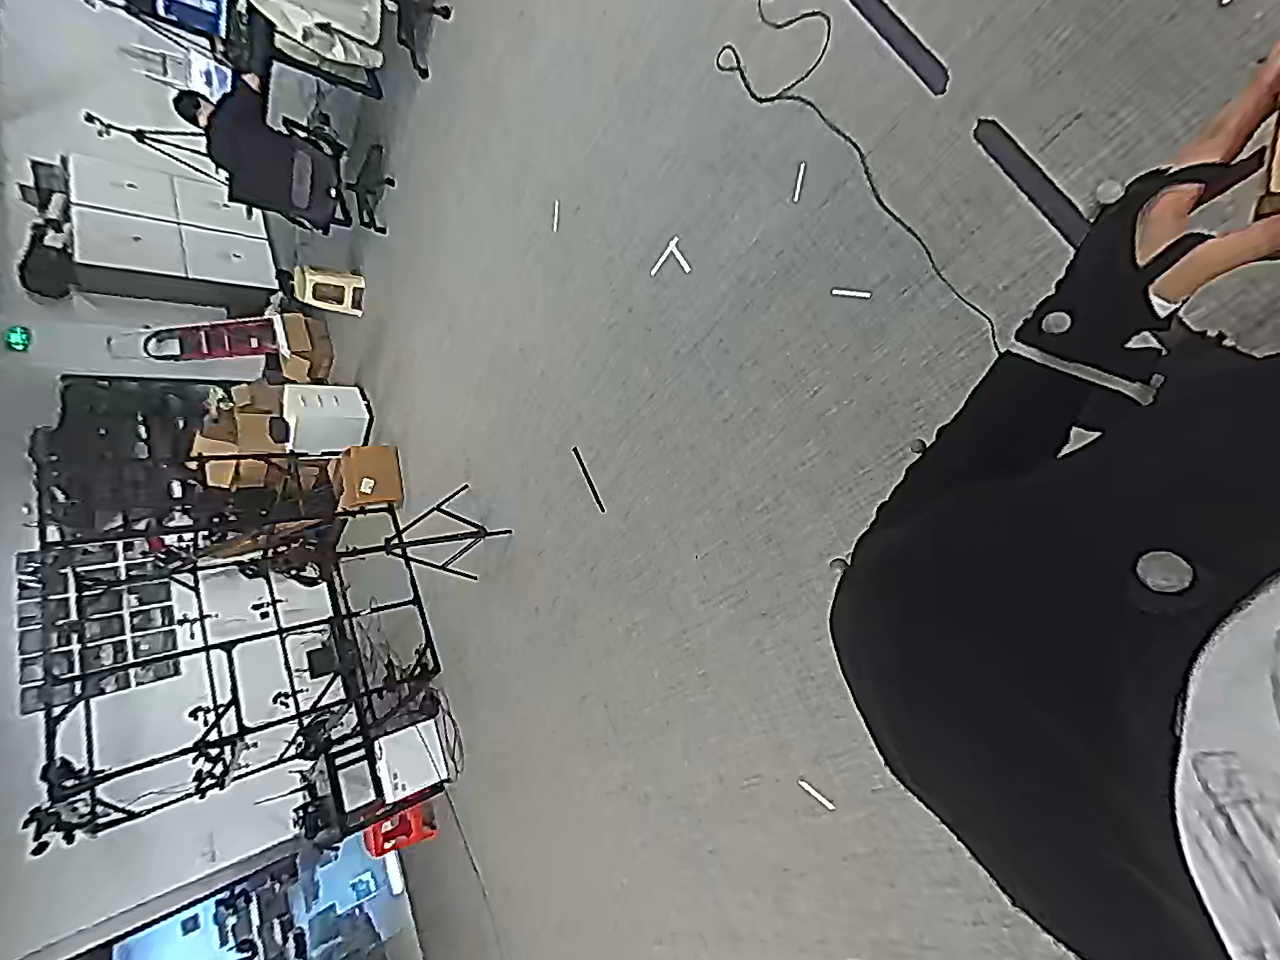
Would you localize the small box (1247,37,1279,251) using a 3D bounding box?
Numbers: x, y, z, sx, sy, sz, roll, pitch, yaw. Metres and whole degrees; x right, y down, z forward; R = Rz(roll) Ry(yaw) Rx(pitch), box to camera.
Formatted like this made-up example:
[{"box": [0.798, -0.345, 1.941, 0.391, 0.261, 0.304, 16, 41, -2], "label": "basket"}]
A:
[{"box": [0.445, -0.225, 0.267, 0.179, 0.176, 0.168, 12, 103, 45], "label": "small box"}]
